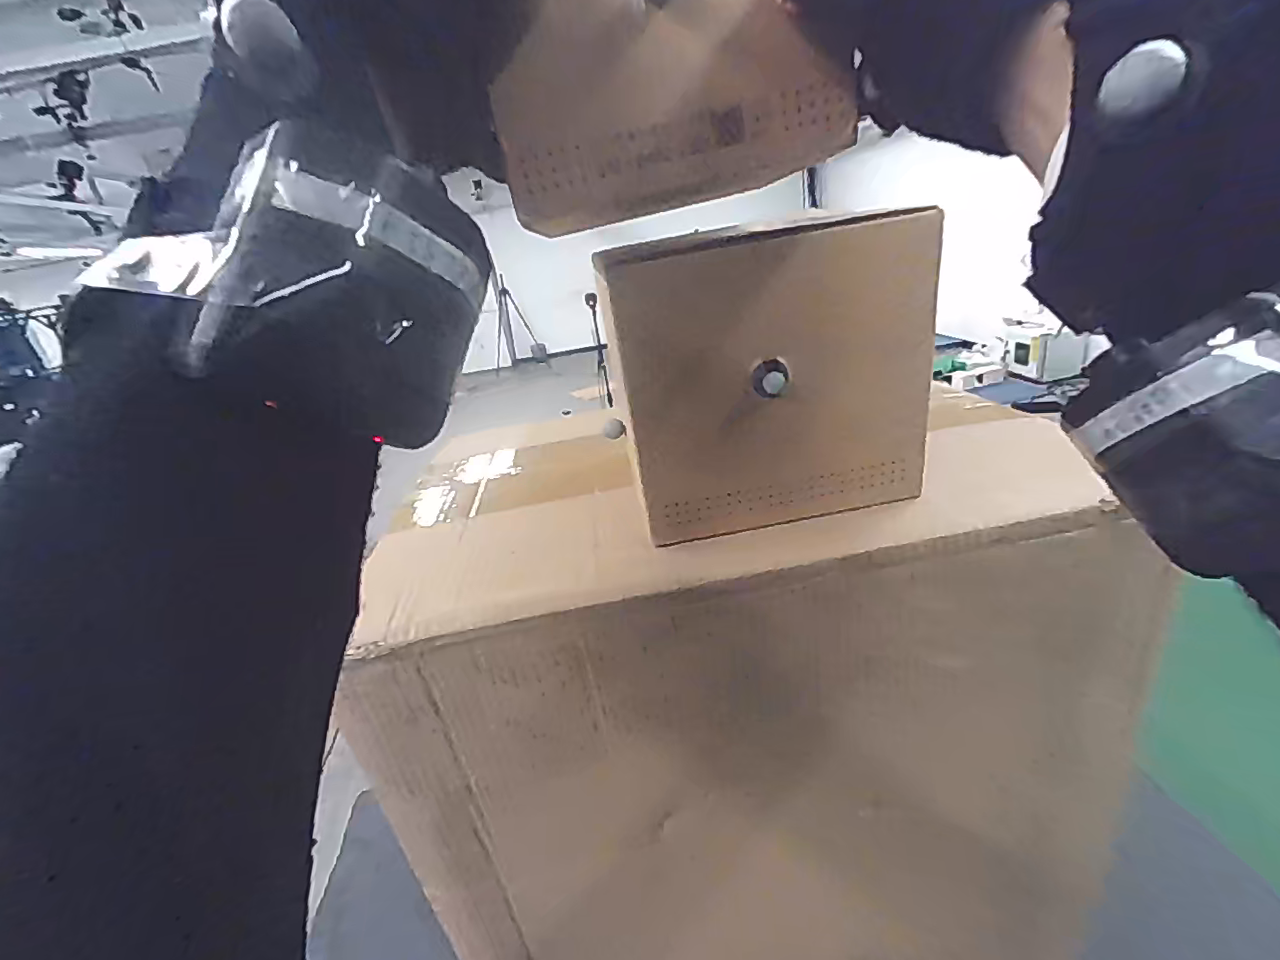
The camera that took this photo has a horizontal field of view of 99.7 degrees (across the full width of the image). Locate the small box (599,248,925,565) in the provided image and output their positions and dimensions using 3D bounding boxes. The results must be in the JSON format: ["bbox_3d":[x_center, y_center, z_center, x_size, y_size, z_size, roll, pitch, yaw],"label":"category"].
[{"bbox_3d":[0.071,-0.061,0.388,0.179,0.176,0.168,-10,25,-1],"label":"small box"}]

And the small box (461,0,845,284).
[{"bbox_3d":[0.004,-0.219,0.318,0.168,0.176,0.179,-14,22,-1],"label":"small box"}]
